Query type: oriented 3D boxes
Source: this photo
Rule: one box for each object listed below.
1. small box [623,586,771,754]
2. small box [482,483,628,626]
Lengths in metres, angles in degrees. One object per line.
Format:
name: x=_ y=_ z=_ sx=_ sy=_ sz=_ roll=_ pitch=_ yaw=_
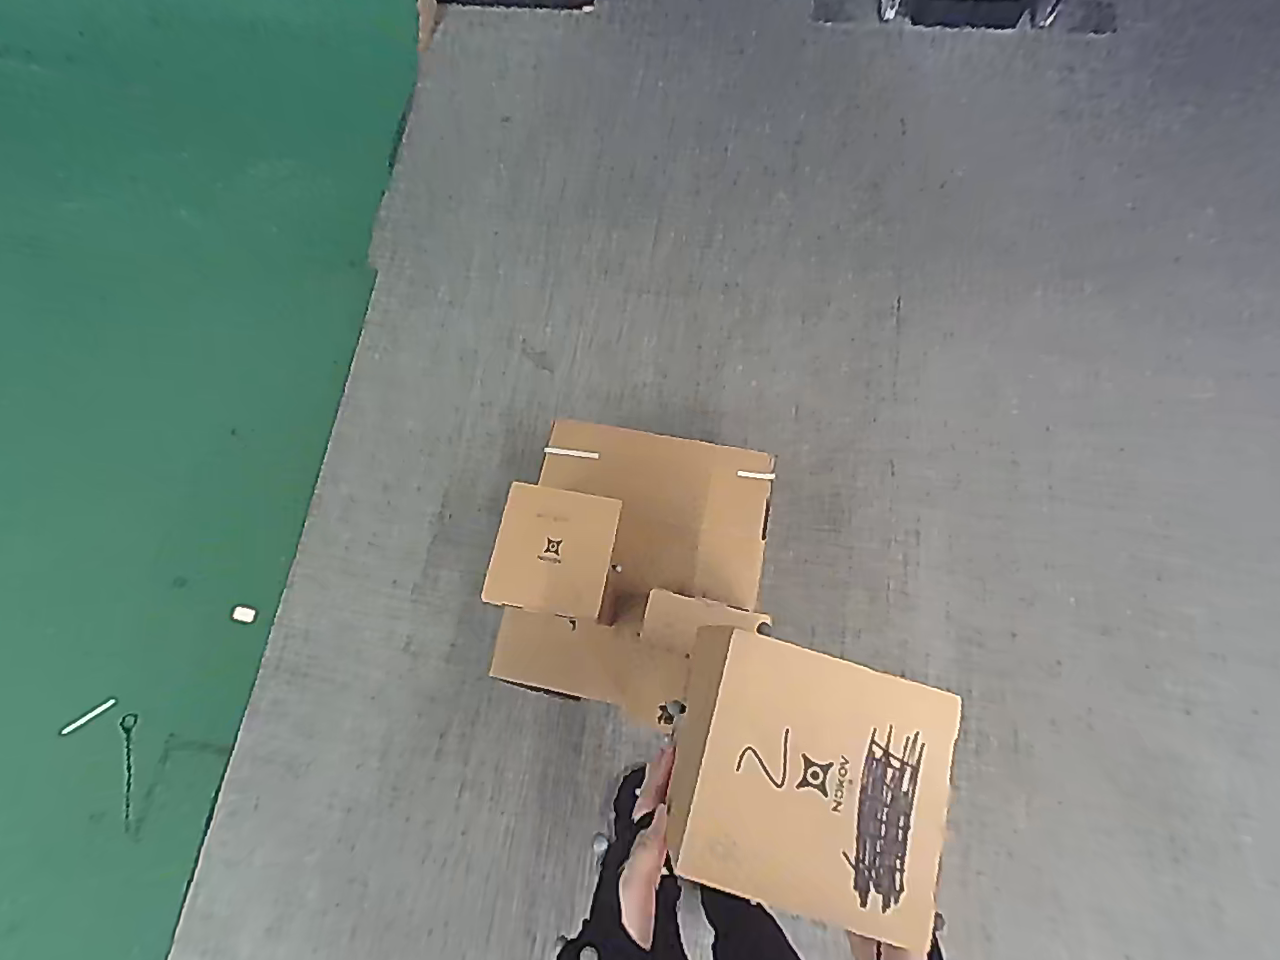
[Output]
small box: x=0.077 y=0.263 z=0.773 sx=0.168 sy=0.176 sz=0.179 roll=12 pitch=74 yaw=6
small box: x=-0.116 y=0.122 z=0.827 sx=0.168 sy=0.176 sz=0.179 roll=10 pitch=74 yaw=6
